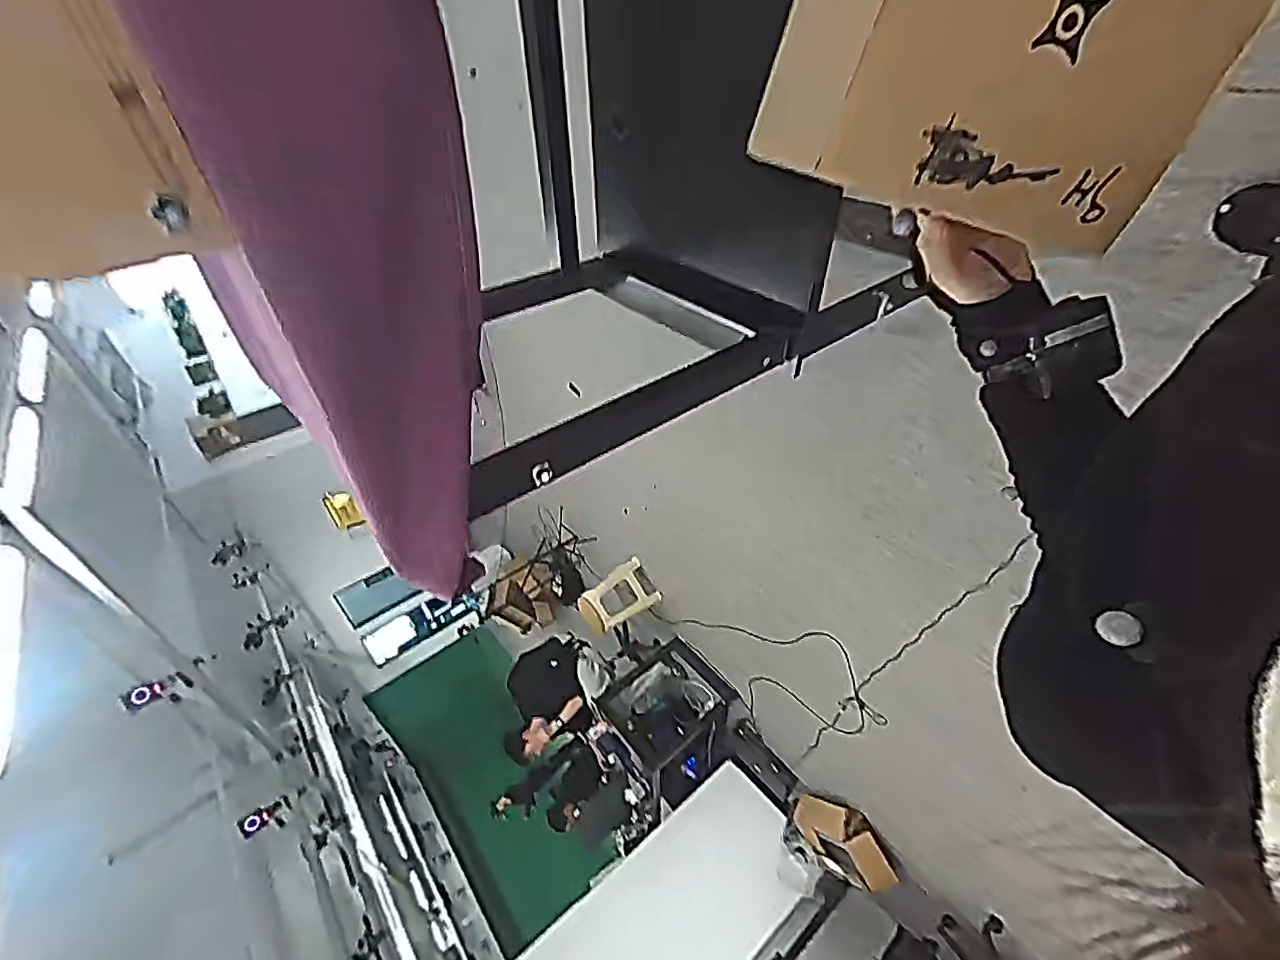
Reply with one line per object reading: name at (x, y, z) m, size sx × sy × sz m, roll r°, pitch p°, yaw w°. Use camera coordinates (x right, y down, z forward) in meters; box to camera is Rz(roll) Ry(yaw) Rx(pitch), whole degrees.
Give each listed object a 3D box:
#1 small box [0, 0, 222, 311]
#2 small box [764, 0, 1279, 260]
small box at (-0.447, -0.245, 0.396) m, size 0.179 × 0.176 × 0.168 m, roll 38°, pitch 144°, yaw 38°
small box at (0.181, -0.244, 0.283) m, size 0.176 × 0.168 × 0.179 m, roll -89°, pitch 16°, yaw -56°
